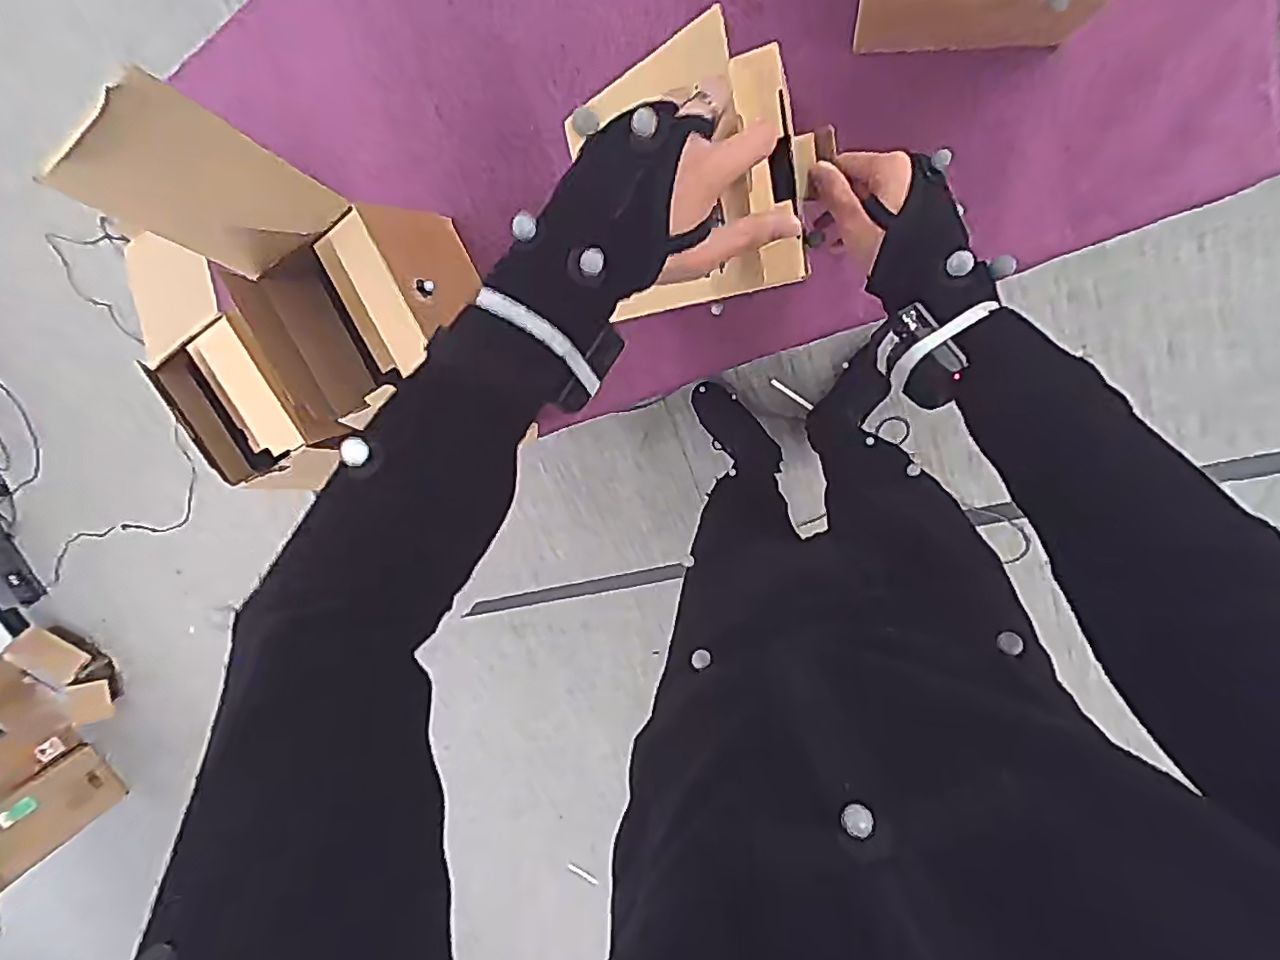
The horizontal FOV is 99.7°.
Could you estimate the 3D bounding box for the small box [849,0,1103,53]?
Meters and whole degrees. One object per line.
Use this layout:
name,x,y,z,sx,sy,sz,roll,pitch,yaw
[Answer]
small box,0.256,-0.427,0.378,0.179,0.176,0.168,10,113,14

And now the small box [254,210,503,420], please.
small box,-0.297,-0.197,0.651,0.168,0.176,0.179,-19,104,23
